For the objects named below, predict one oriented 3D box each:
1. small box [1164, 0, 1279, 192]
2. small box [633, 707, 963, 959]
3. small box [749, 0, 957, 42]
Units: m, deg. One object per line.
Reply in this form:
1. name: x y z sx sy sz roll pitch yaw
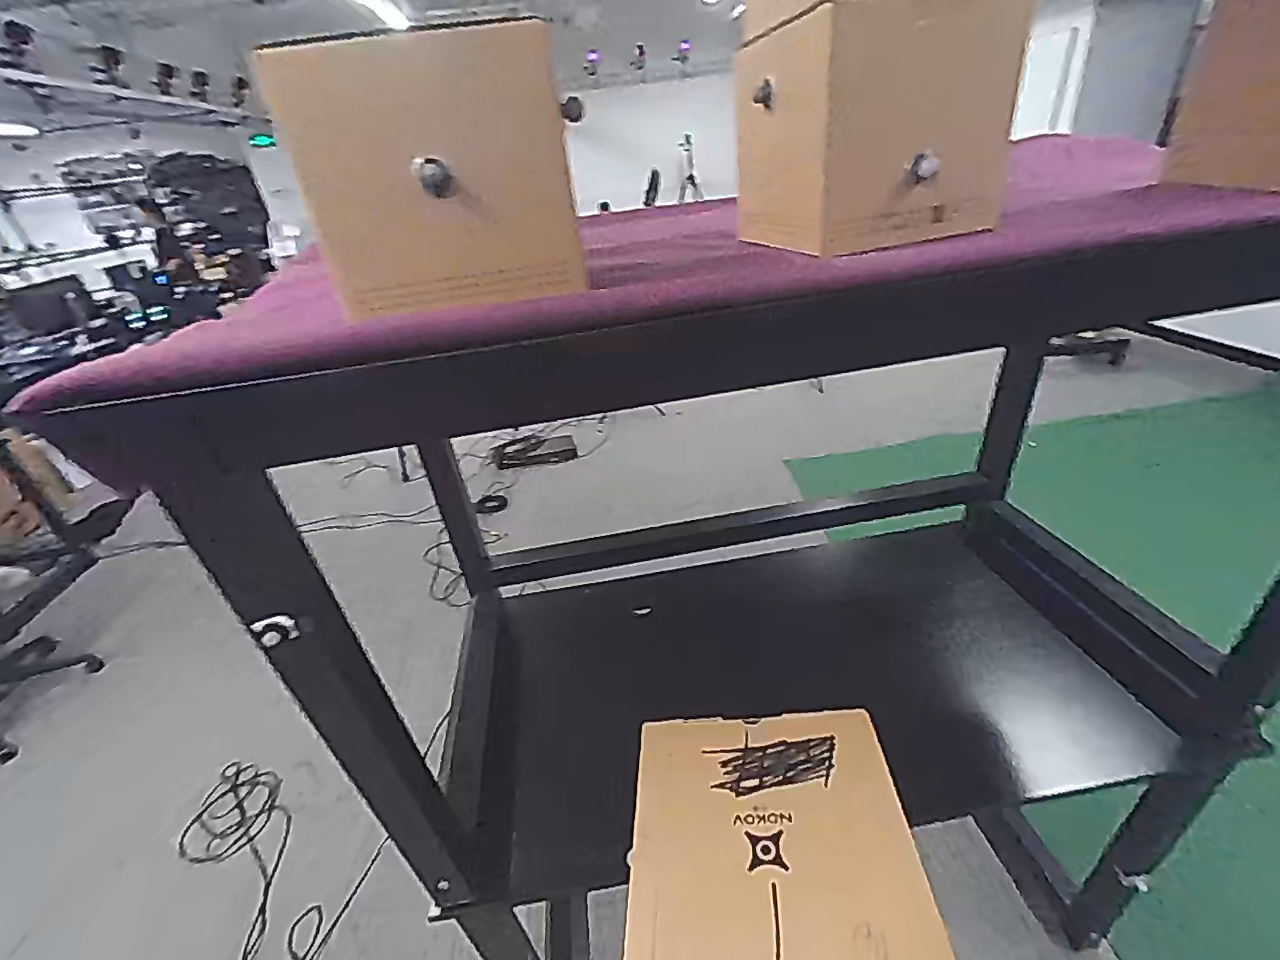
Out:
1. small box: 0.617 -0.350 0.458 0.168 0.176 0.179 -4 33 6
2. small box: 0.097 0.284 0.363 0.168 0.176 0.179 -8 26 10
3. small box: 0.184 -0.452 0.399 0.168 0.176 0.179 -10 32 -5
